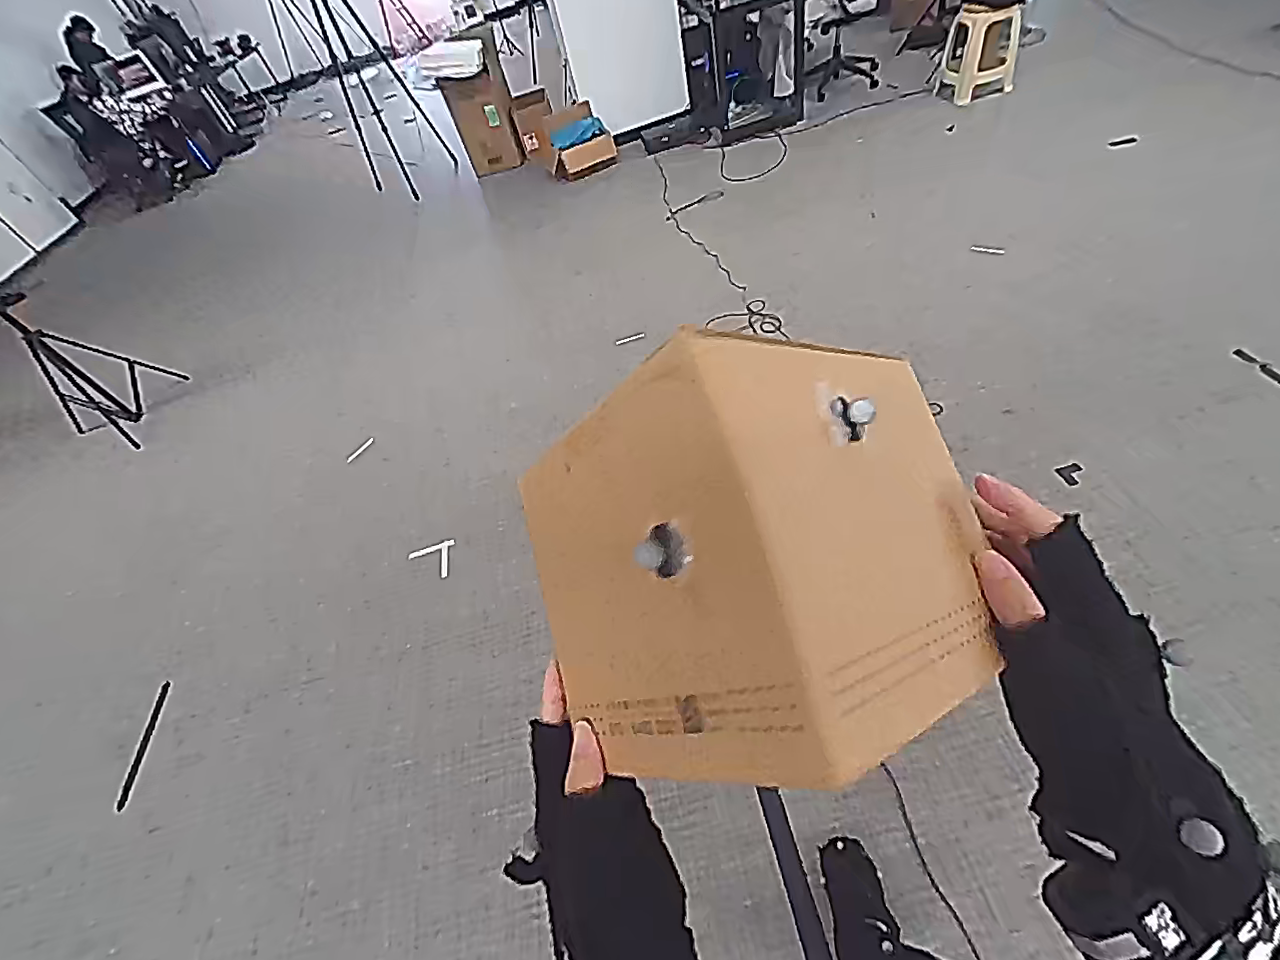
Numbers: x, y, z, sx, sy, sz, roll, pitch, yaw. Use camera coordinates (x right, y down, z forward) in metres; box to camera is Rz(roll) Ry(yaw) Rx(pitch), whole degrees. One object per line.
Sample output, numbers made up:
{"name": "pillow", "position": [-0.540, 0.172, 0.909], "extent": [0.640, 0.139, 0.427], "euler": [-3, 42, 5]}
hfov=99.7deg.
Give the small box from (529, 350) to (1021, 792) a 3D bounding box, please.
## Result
{"name": "small box", "position": [0.064, 0.047, 0.297], "extent": [0.179, 0.168, 0.176], "euler": [-6, 73, -35]}
